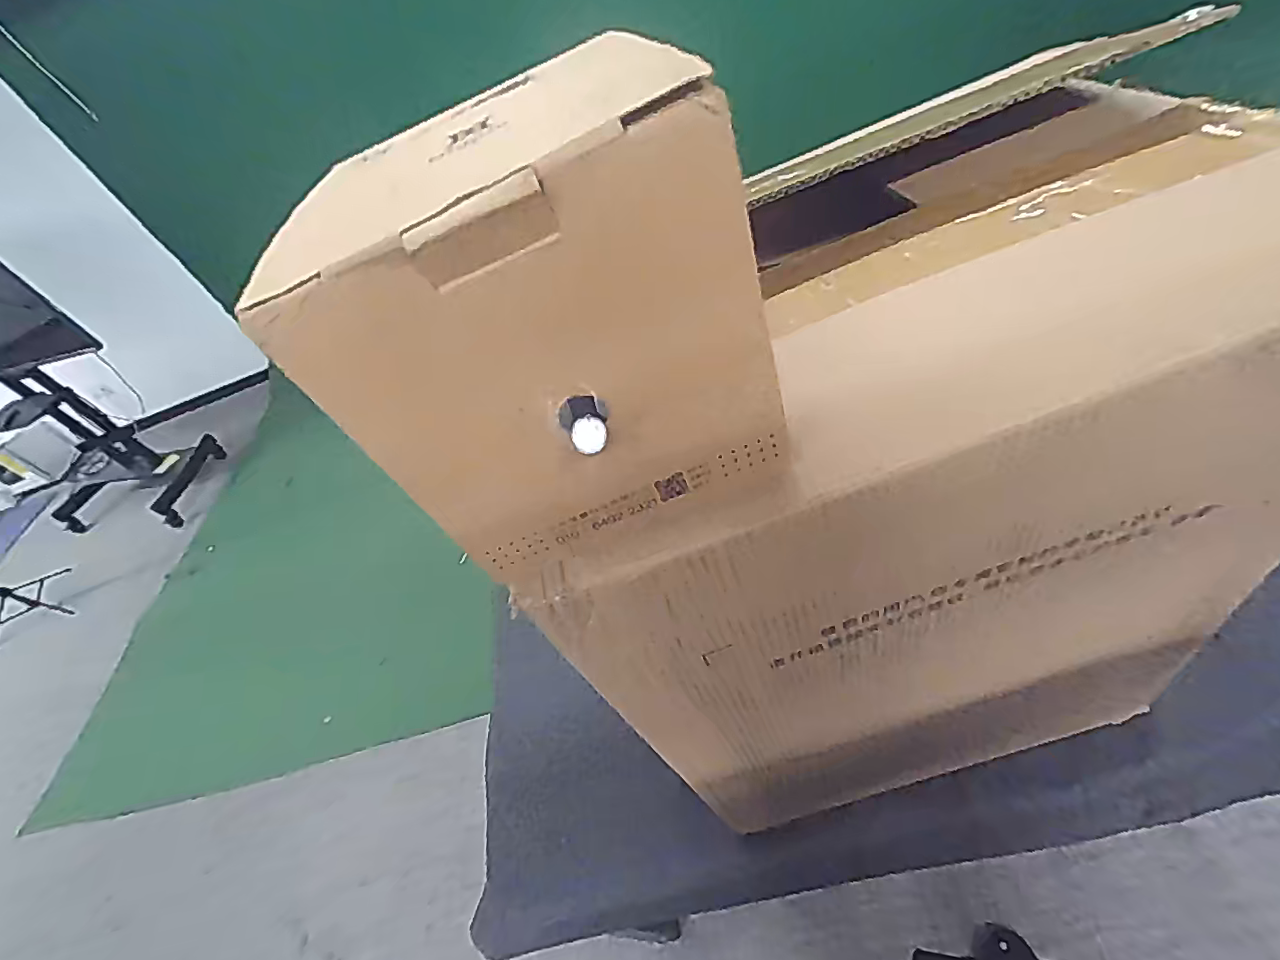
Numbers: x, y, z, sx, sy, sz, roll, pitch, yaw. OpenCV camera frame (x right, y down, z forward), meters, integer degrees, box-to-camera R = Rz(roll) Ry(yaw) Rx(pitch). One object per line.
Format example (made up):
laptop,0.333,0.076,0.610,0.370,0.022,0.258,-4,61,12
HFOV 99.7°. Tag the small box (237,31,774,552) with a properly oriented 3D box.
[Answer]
small box,-0.045,-0.085,0.278,0.168,0.176,0.179,-22,45,5
